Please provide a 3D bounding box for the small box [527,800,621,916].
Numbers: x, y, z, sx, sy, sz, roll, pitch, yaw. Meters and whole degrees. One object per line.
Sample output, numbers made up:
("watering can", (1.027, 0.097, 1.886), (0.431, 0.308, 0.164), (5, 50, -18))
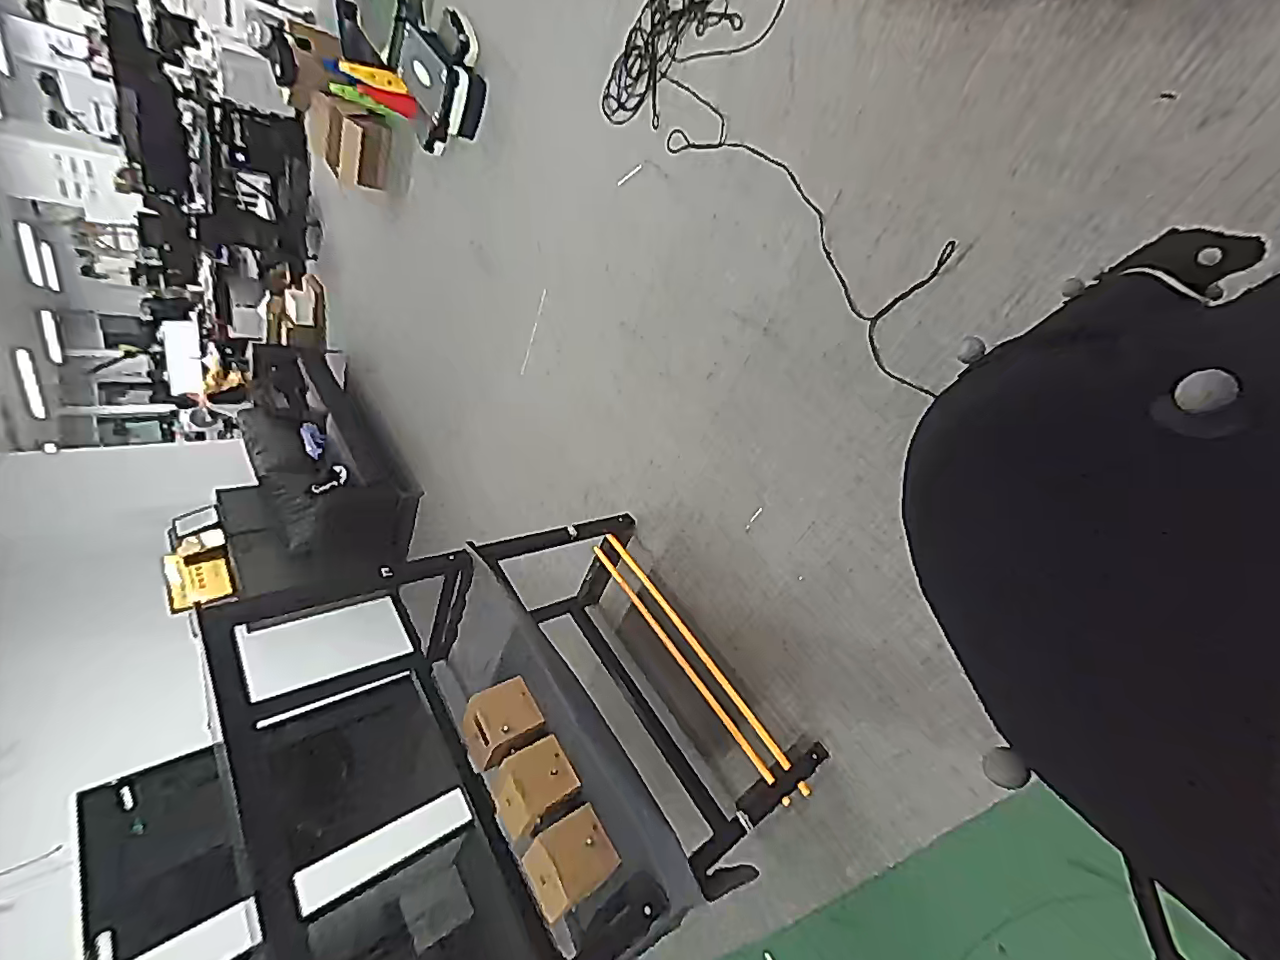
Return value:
("small box", (-0.174, 0.999, 1.438), (0.168, 0.176, 0.179), (48, 129, 31))
